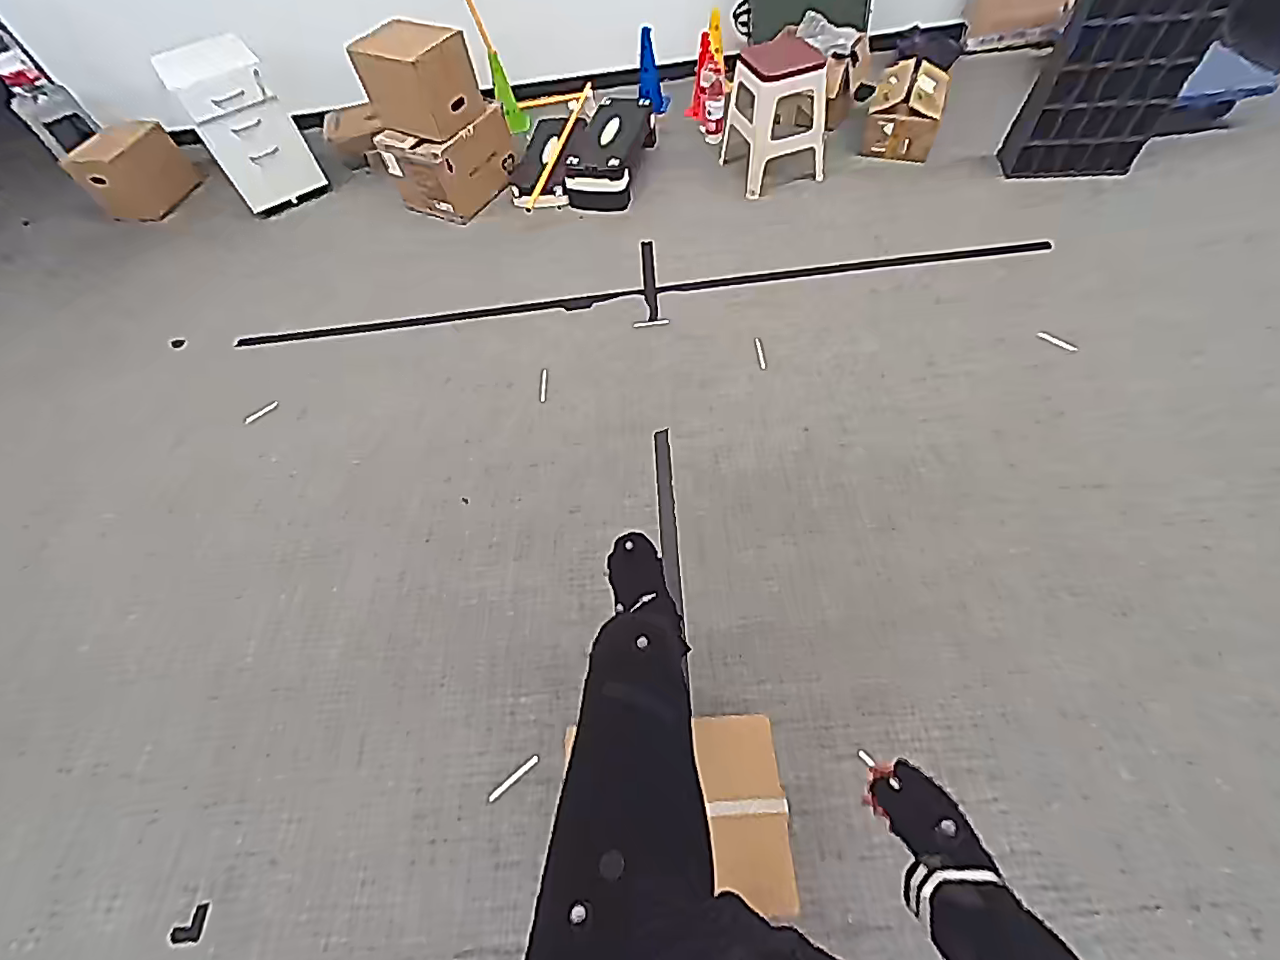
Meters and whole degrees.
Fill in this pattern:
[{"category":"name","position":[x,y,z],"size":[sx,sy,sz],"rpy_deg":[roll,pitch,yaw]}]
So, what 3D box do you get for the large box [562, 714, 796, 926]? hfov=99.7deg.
[{"category":"large box","position":[0.072,0.686,1.114],"size":[0.408,0.320,0.320],"rpy_deg":[-6,57,4]}]
